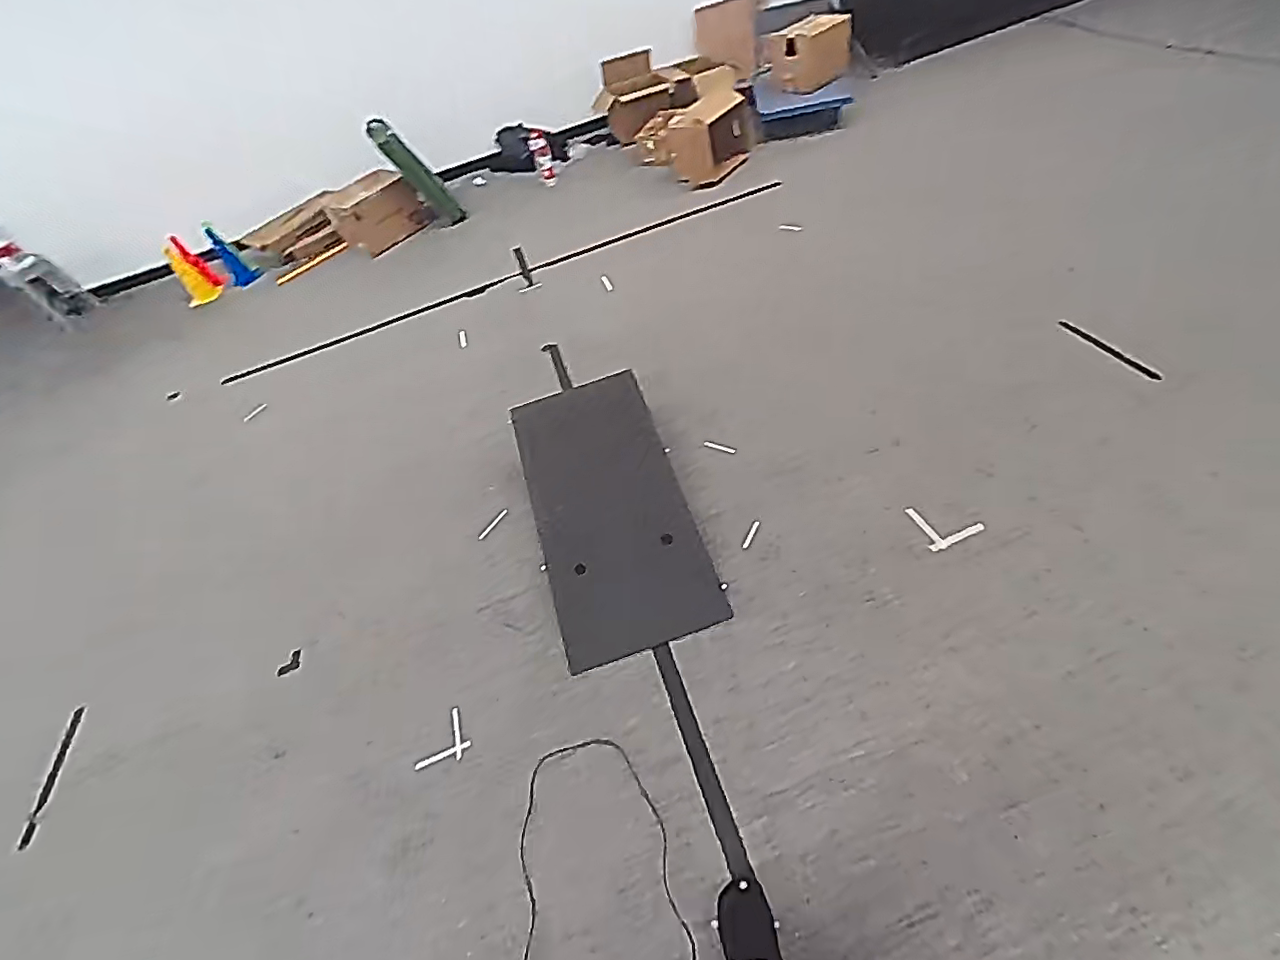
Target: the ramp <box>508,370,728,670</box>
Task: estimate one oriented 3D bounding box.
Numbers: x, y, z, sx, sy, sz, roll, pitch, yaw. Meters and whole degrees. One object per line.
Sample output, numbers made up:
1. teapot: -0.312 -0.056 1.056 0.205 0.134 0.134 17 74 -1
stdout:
1. ramp: -0.116 0.062 1.789 0.509 0.206 0.991 -20 49 -4
